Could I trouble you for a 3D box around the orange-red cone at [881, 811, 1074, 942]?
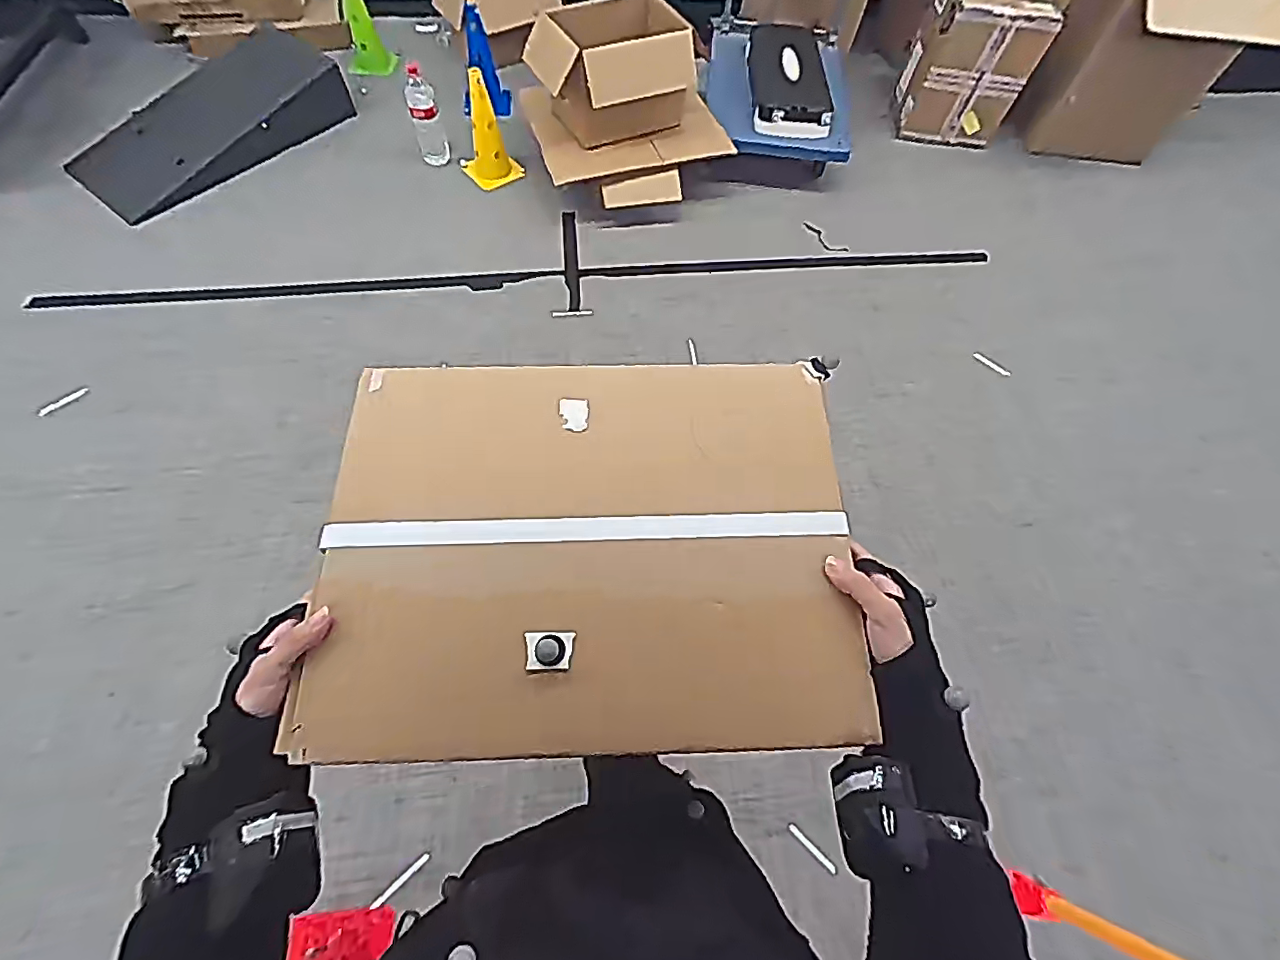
[{"bbox_3d":[0.635,0.744,0.980,0.199,0.360,0.198,-11,64,-10],"label":"orange-red cone"}]
